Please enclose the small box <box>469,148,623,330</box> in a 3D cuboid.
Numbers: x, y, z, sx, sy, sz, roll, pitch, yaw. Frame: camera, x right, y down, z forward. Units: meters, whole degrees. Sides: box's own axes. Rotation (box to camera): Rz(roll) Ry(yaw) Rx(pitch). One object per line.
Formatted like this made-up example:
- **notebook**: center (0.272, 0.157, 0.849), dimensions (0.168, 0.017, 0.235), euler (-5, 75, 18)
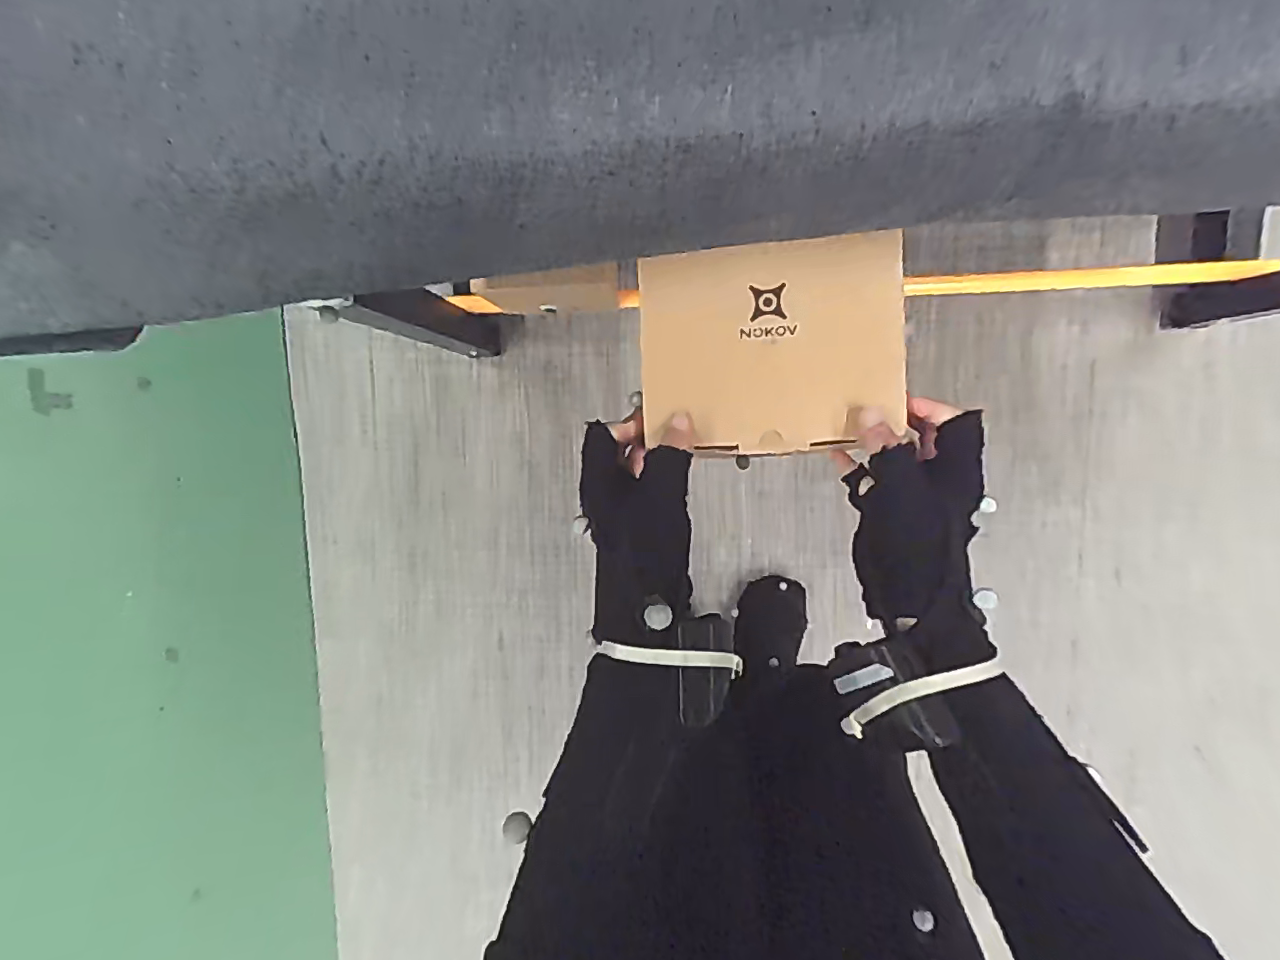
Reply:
- **small box**: center (-0.113, -0.303, 0.714), dimensions (0.168, 0.176, 0.179), euler (-3, 97, 3)
